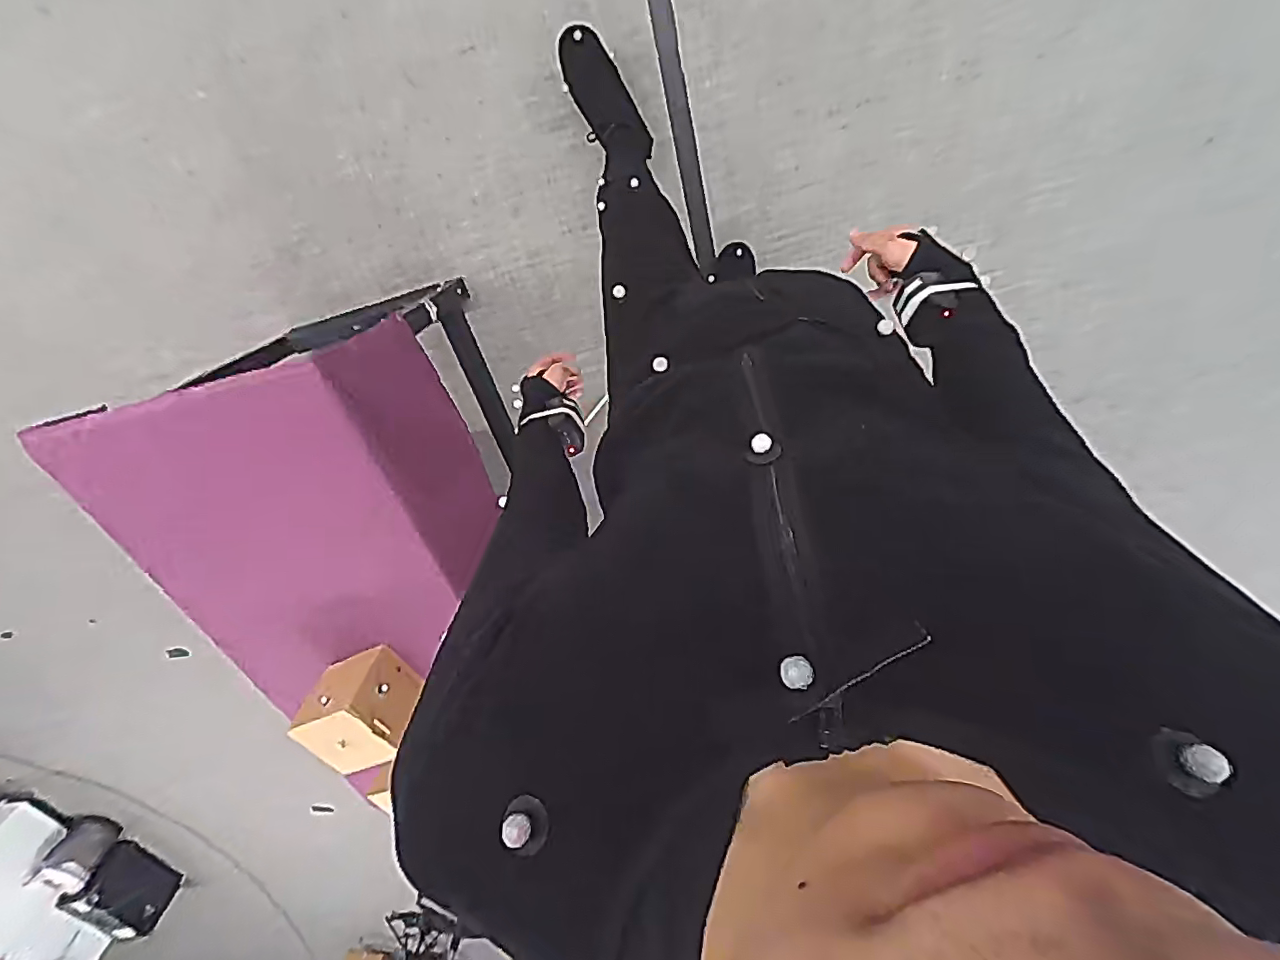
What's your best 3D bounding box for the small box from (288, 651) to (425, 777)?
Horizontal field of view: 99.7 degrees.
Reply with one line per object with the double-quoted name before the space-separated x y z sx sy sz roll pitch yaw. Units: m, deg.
"small box" -0.592 0.497 1.163 0.179 0.176 0.168 -24 117 17
